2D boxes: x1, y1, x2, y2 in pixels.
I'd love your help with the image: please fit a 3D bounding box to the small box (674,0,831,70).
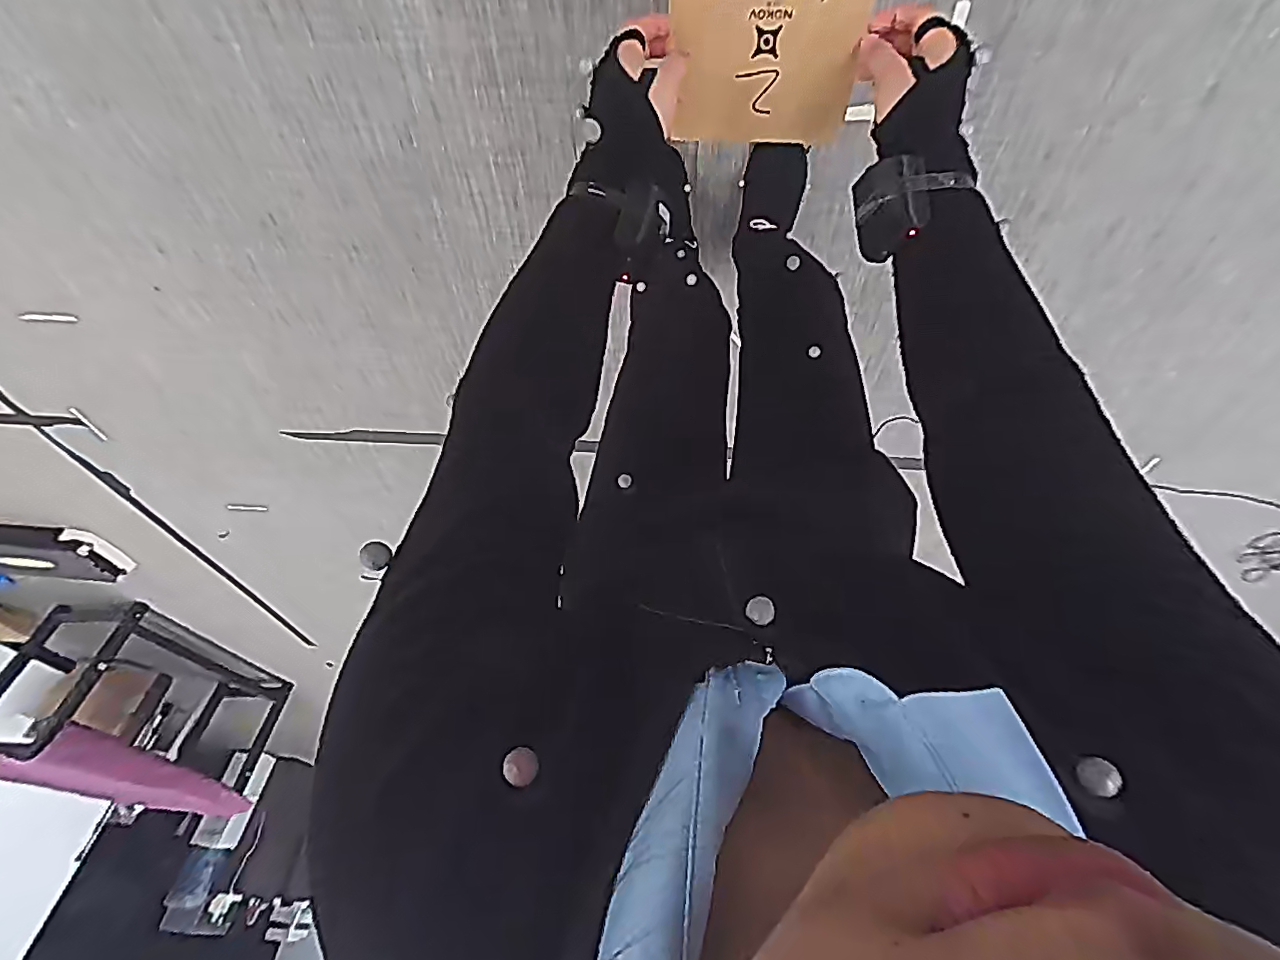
[{"bbox_3d":[0.124,-0.583,0.598,0.168,0.176,0.179,3,141,3],"label":"small box"}]
